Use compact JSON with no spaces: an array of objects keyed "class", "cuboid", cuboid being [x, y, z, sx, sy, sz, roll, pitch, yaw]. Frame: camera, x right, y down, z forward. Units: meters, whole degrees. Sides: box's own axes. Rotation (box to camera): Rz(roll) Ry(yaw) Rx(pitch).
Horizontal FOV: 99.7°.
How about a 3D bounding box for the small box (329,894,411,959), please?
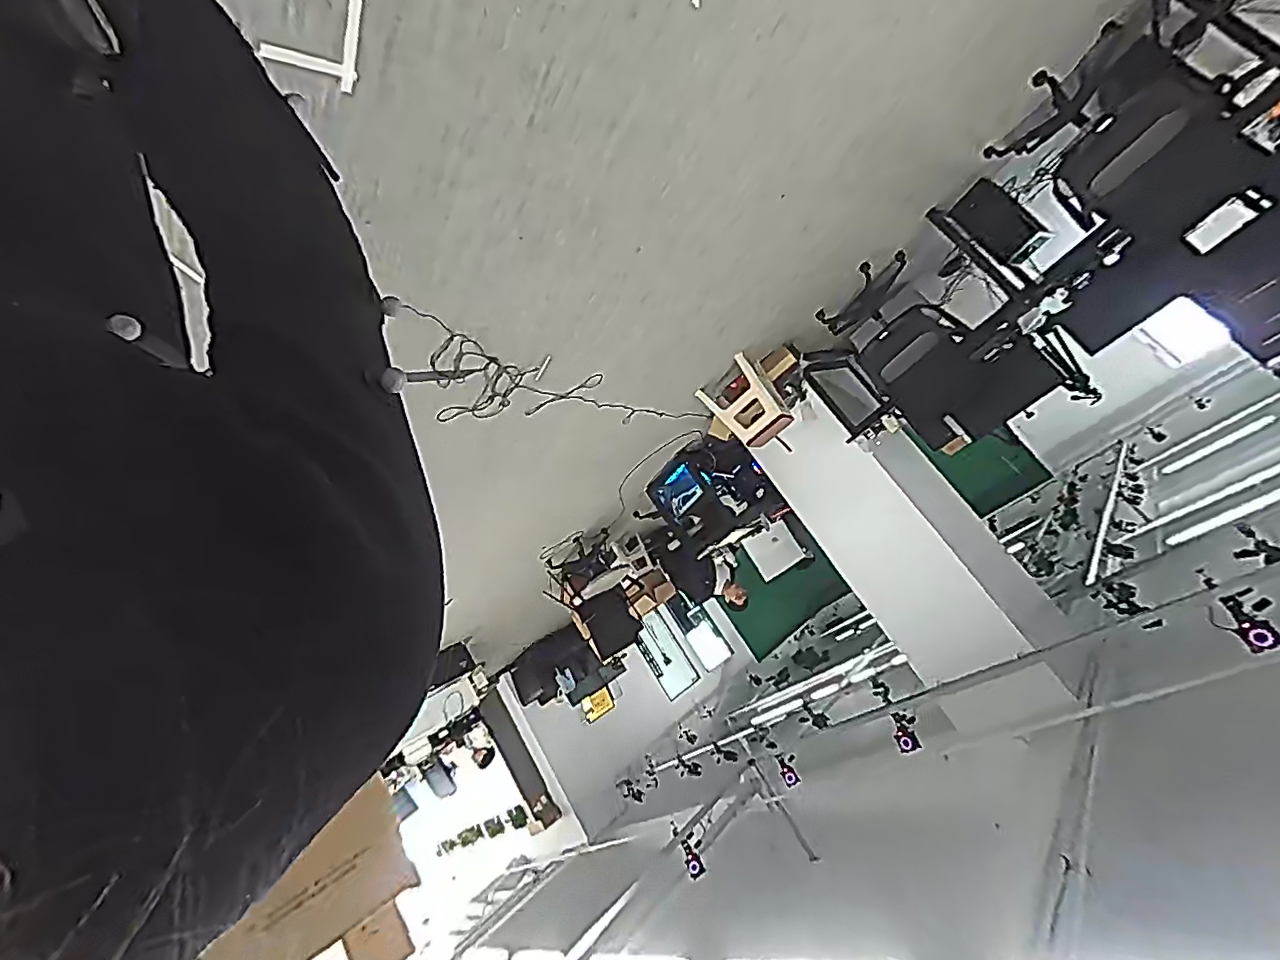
[{"class":"small box","cuboid":[-0.839,1.424,1.670,0.168,0.176,0.179,-18,157,-44]}]
